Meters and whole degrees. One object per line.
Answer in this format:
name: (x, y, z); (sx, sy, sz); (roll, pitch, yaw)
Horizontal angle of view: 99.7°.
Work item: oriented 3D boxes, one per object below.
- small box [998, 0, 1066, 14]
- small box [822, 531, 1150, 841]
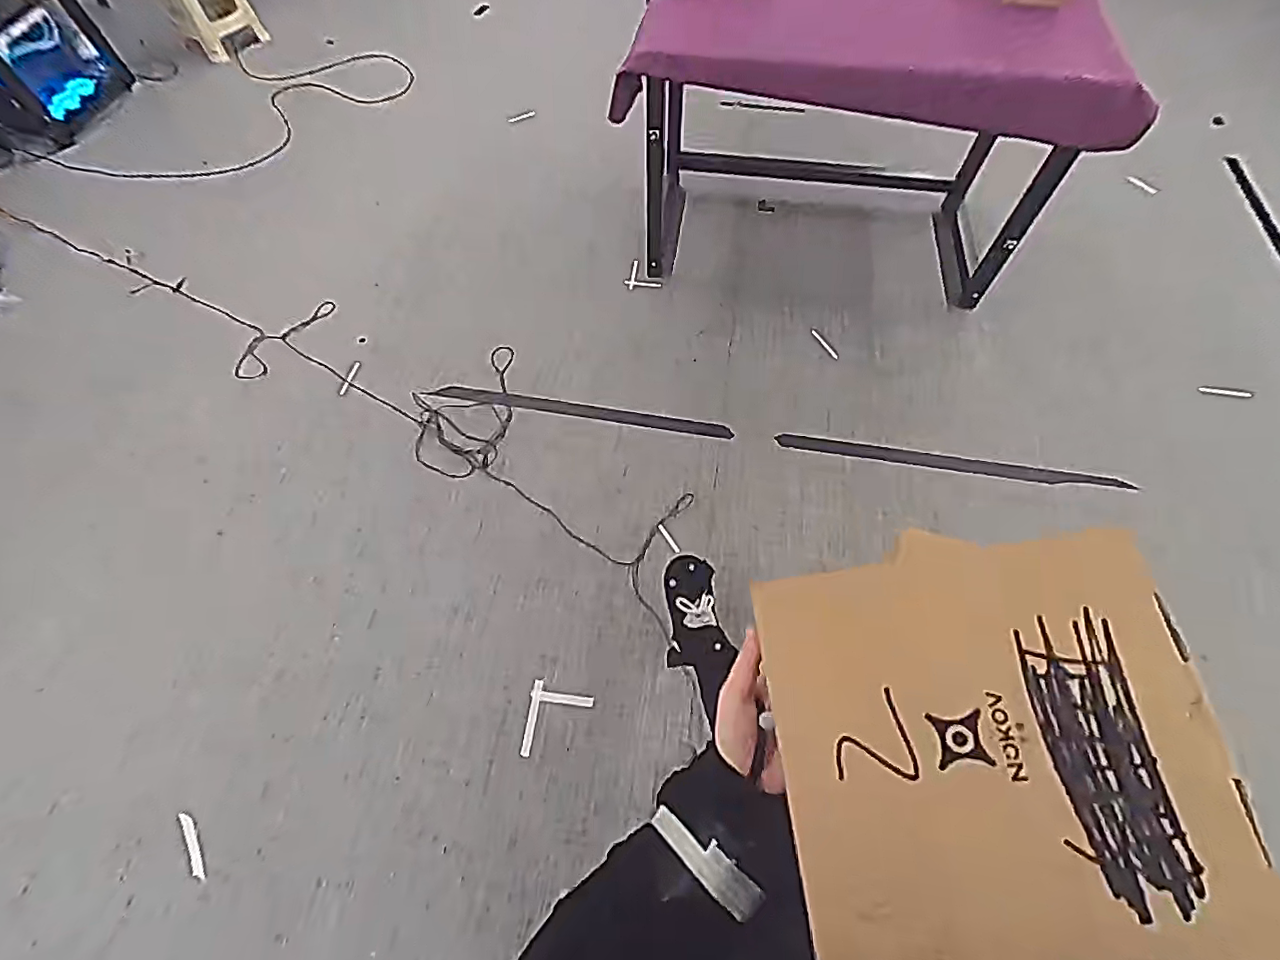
small box: (1.086, -1.399, 1.445); (0.168, 0.176, 0.179); (12, 67, 8)
small box: (0.276, 0.169, 0.466); (0.179, 0.176, 0.168); (19, 68, 16)
